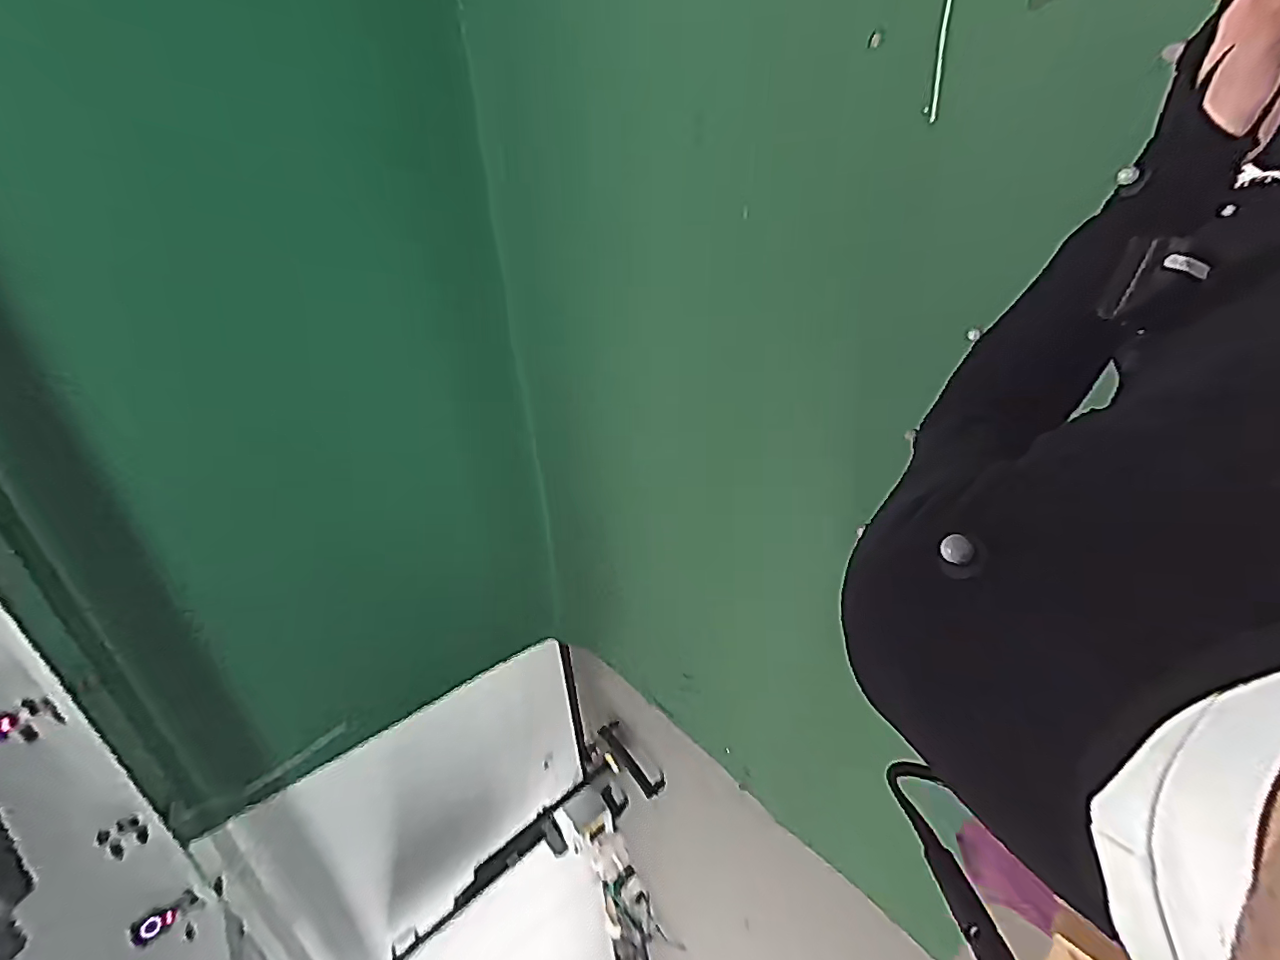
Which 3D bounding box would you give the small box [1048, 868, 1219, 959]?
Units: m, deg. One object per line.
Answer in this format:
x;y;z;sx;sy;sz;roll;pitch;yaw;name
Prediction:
0.794;0.798;0.882;0.168;0.176;0.179;24;128;44;small box
